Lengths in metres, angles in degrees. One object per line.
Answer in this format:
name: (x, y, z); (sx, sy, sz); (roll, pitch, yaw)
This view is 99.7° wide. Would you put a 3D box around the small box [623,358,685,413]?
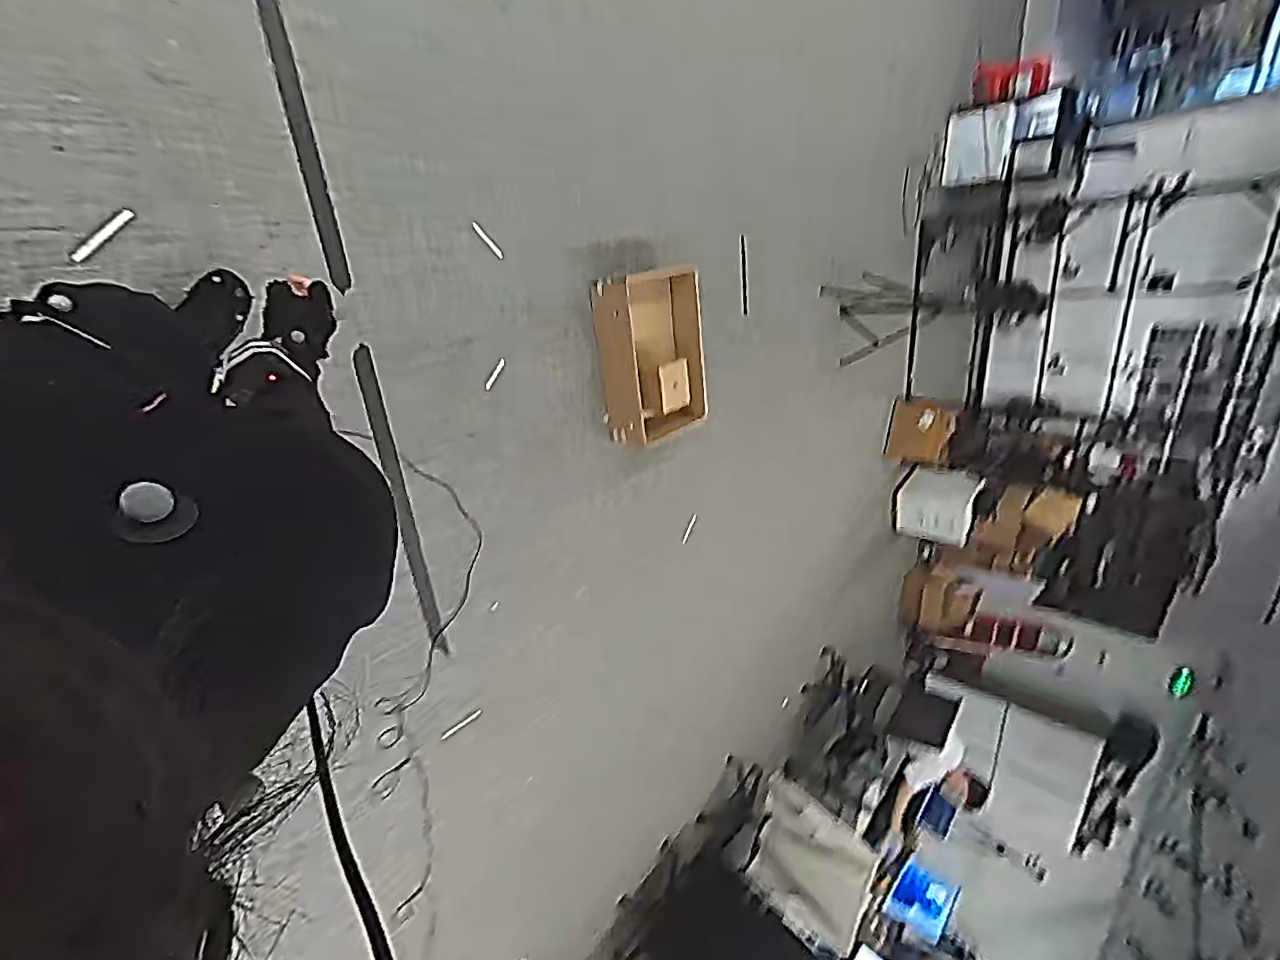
small box: (0.054, -0.375, 2.119); (0.168, 0.176, 0.179); (-29, 119, -41)
